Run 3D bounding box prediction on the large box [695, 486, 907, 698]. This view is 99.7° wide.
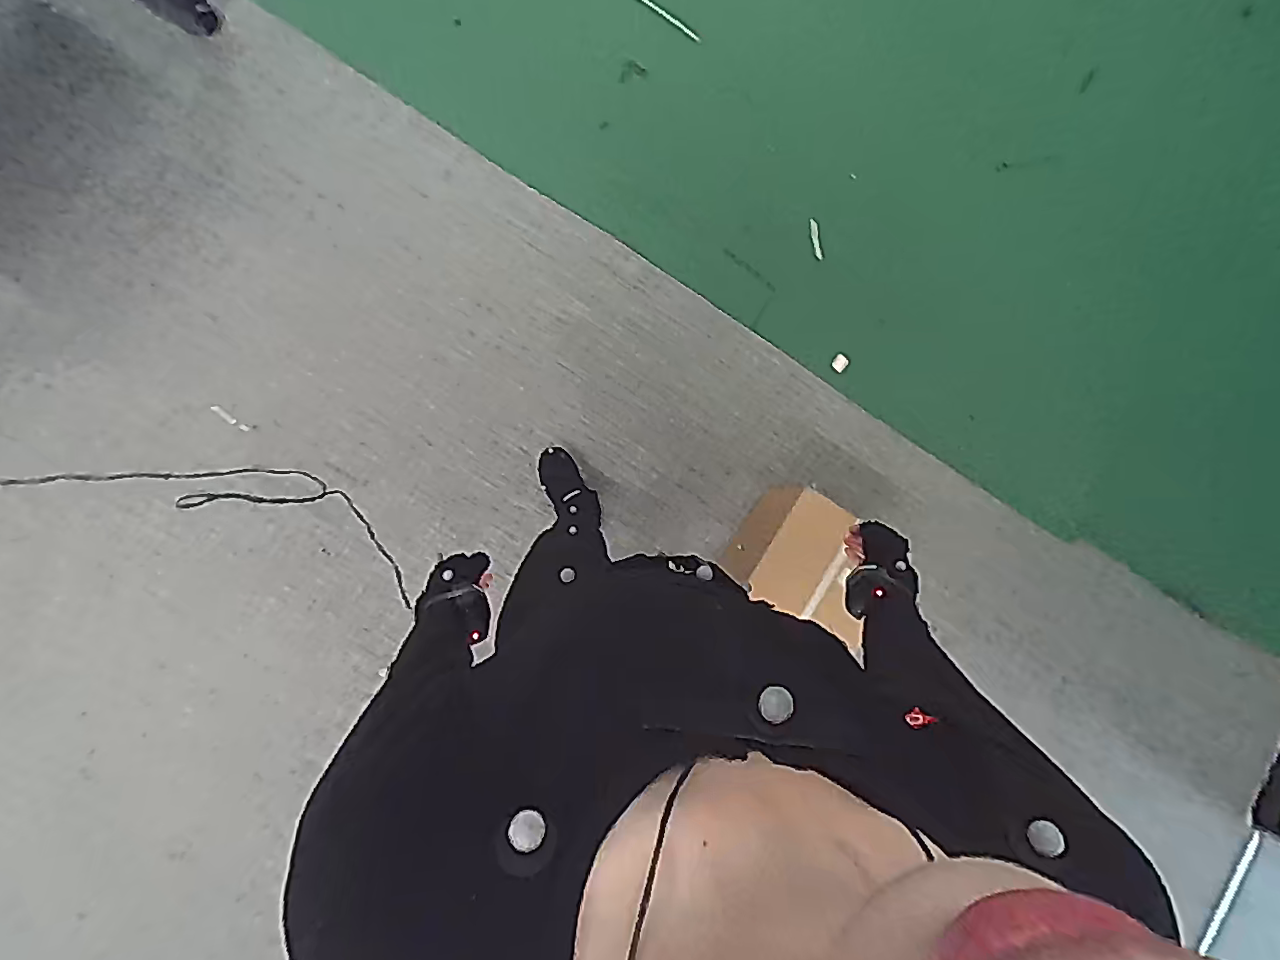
[{"bbox_3d":[0.393,0.270,1.406,0.320,0.320,0.408,34,84,-3],"label":"large box"}]
